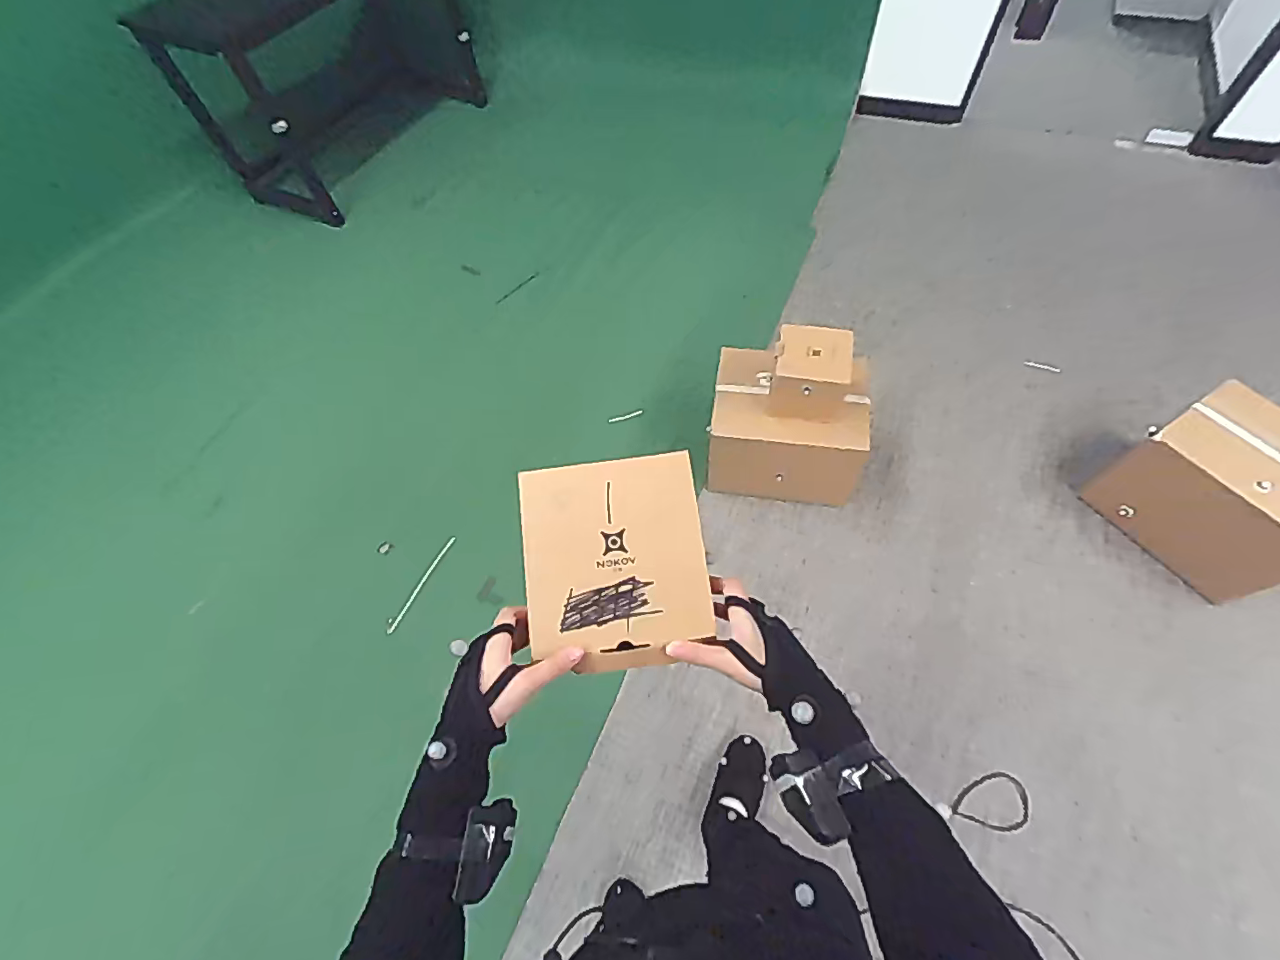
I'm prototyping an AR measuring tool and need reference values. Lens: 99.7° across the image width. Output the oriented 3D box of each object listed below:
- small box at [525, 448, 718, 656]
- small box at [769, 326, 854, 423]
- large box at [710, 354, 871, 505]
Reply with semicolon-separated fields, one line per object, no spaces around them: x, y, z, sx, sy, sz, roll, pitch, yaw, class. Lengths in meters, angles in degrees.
-0.017;0.082;0.570;0.168;0.176;0.179;-7;74;-1;small box
0.425;-0.261;1.357;0.179;0.176;0.168;9;63;11;small box
0.420;-0.140;1.574;0.408;0.320;0.320;5;59;10;large box
